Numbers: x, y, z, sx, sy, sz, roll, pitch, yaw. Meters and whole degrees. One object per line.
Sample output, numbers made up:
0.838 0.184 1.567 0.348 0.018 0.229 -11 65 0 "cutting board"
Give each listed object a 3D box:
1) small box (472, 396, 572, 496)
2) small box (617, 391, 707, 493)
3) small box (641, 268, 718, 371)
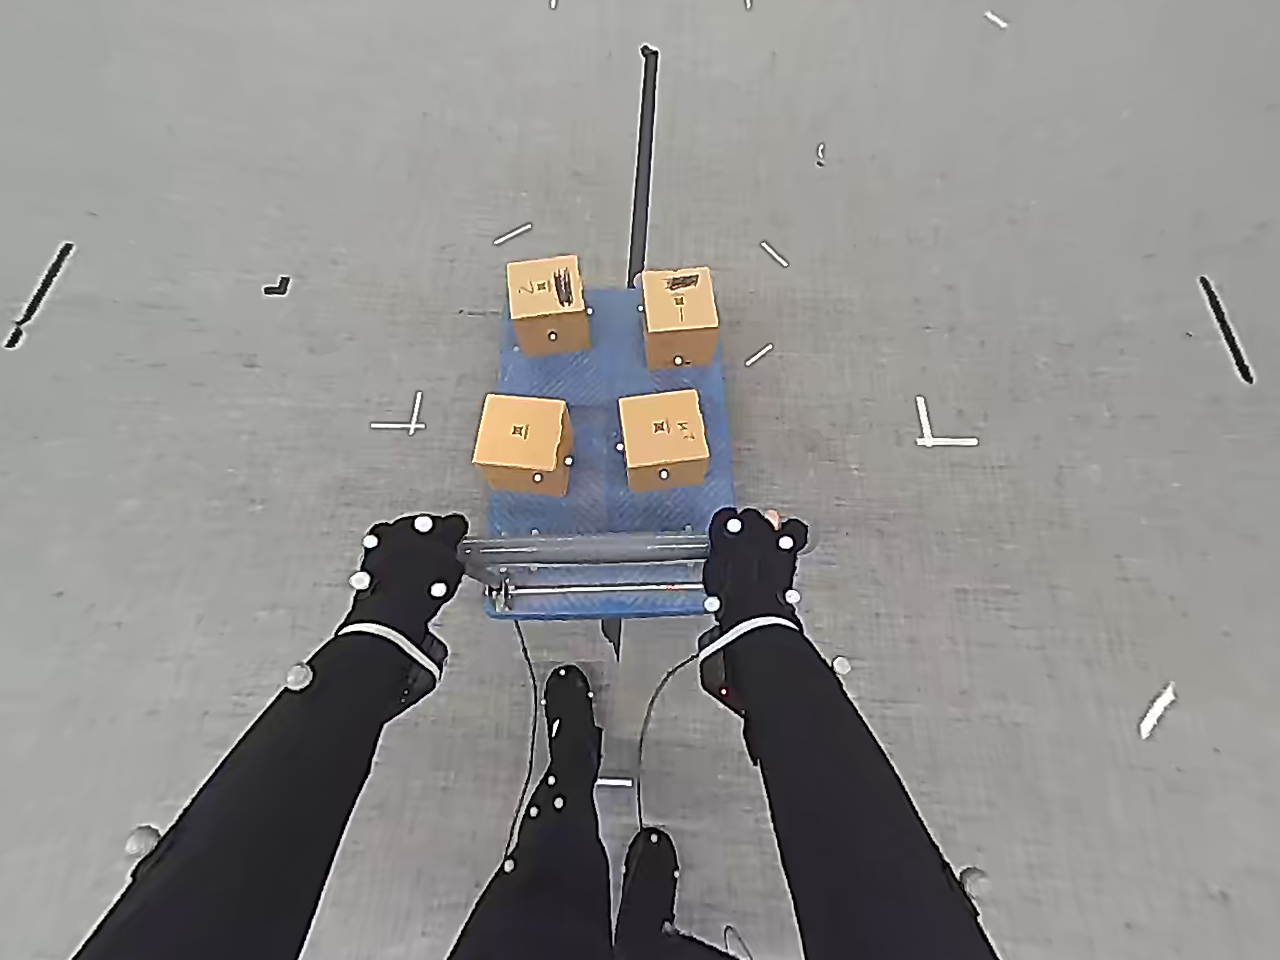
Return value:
-0.256 -0.071 1.218 0.179 0.176 0.168 5 69 1 "small box"
0.048 -0.079 1.219 0.179 0.176 0.168 -7 70 -2 "small box"
0.091 -0.393 1.336 0.168 0.176 0.179 -5 70 -1 "small box"
